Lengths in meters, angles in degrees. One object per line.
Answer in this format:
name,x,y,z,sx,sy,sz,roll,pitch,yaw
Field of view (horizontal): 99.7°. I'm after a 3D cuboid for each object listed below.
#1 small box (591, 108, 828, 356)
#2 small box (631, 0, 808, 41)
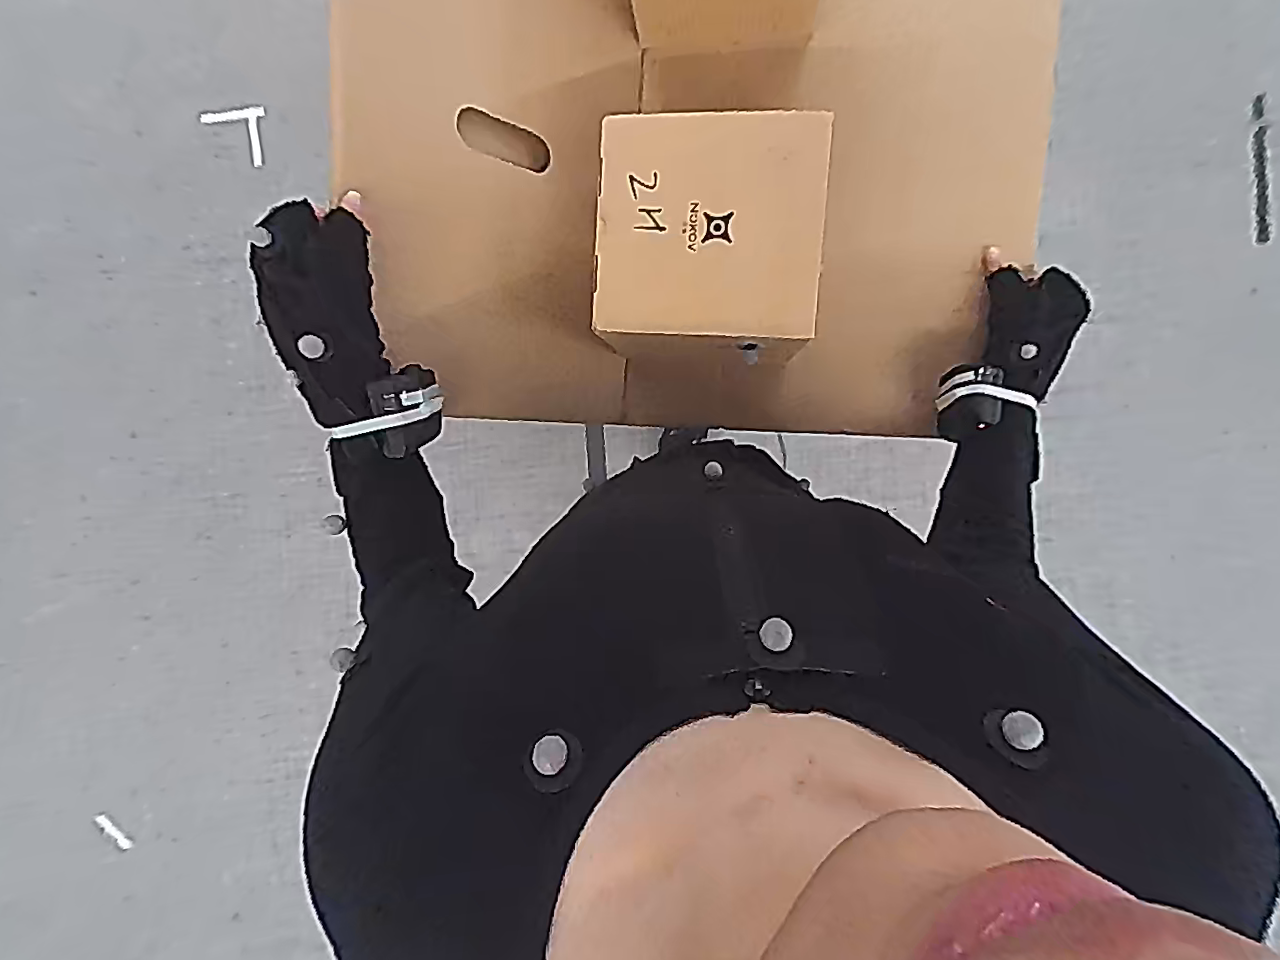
small box,0.062,-0.212,0.504,0.179,0.176,0.168,5,95,8
small box,0.073,-0.531,0.476,0.179,0.176,0.168,2,95,7
